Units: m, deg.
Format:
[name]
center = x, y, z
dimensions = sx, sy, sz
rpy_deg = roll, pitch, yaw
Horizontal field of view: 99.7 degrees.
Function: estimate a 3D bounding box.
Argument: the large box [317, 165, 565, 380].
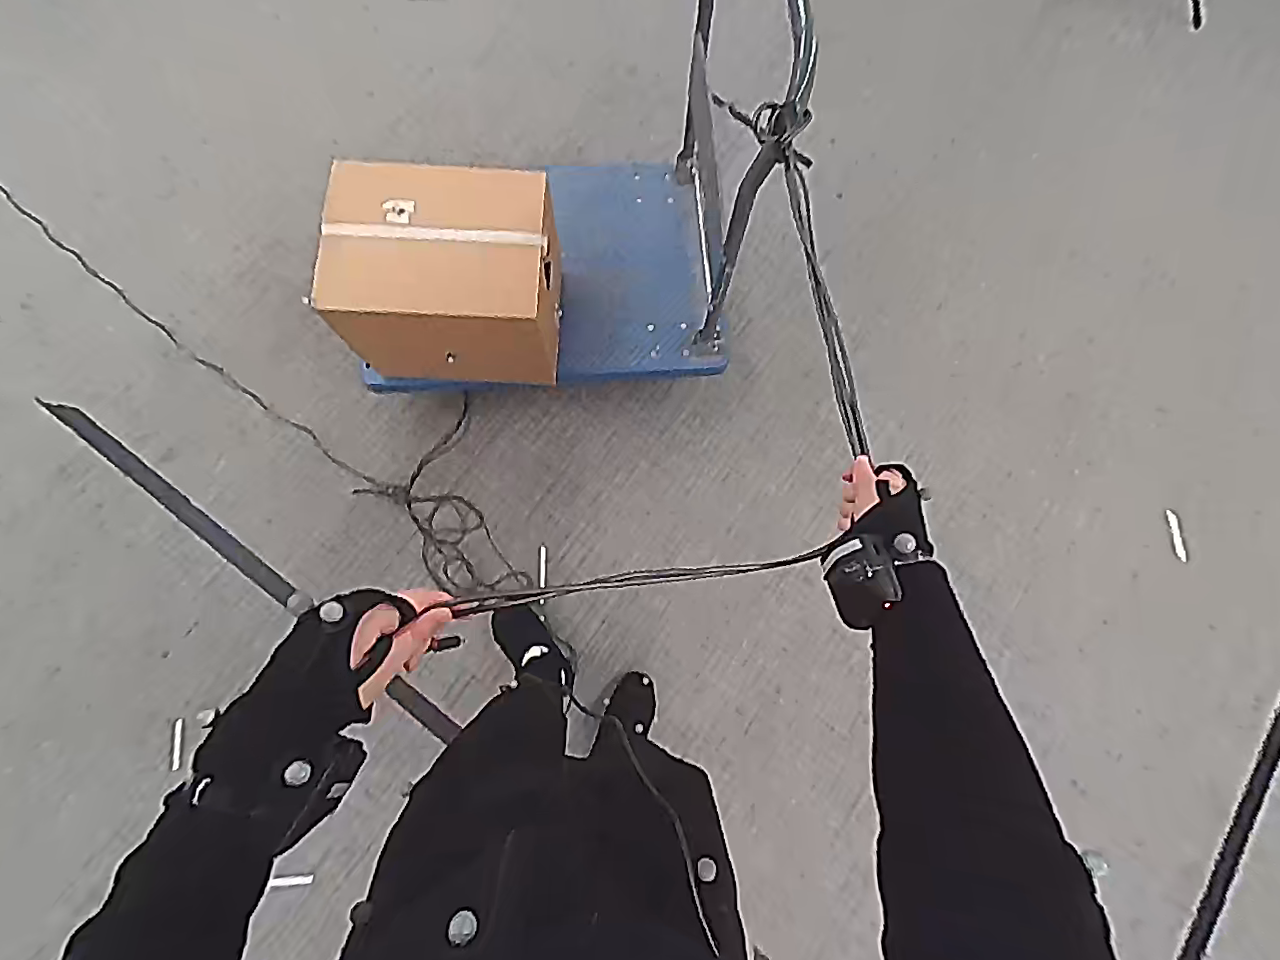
[large box]
center = -0.376, -0.411, 1.136
dimensions = 0.408, 0.320, 0.320
rpy_deg = 2, 77, -1
